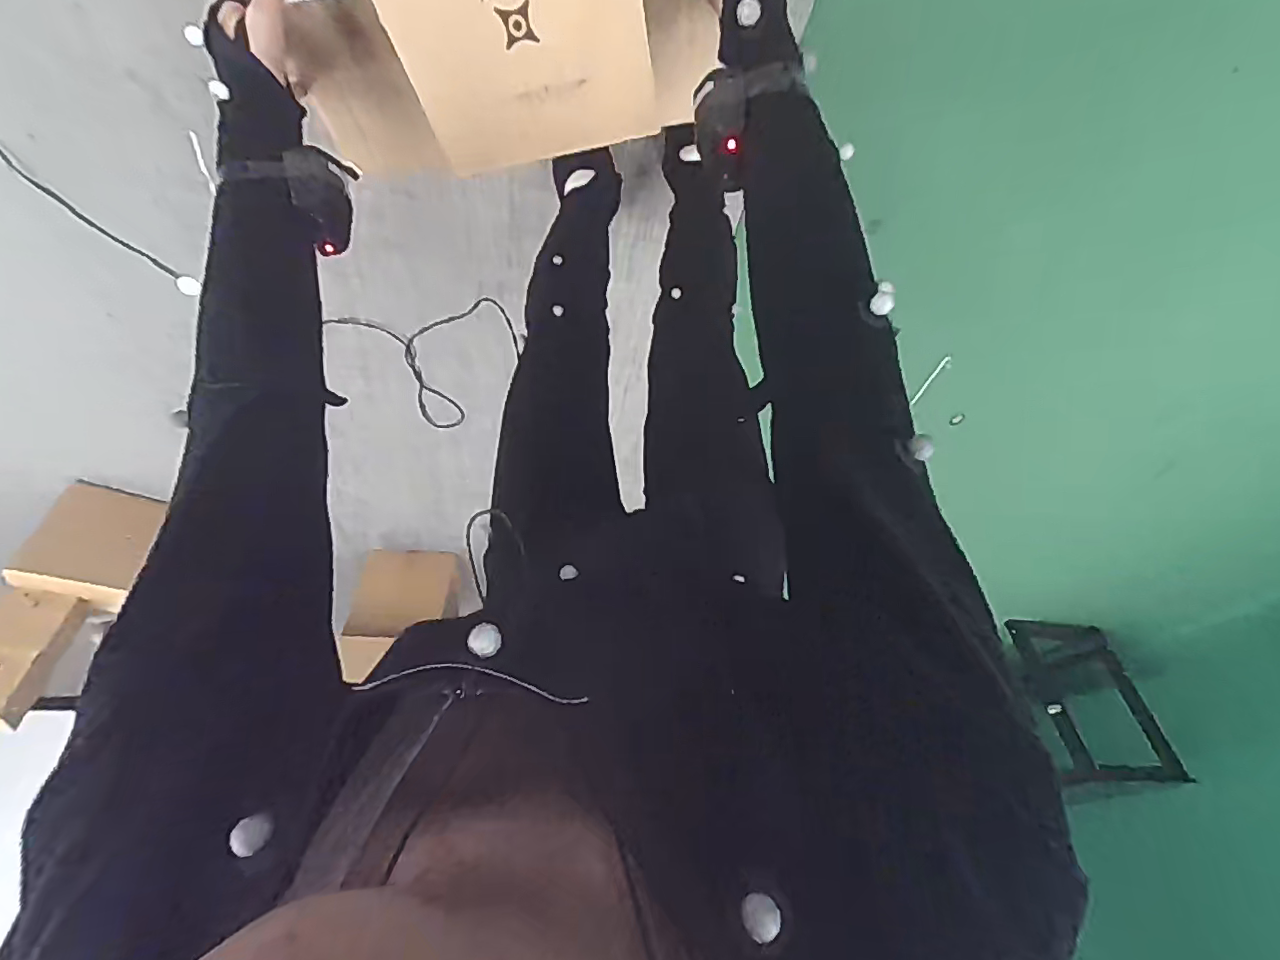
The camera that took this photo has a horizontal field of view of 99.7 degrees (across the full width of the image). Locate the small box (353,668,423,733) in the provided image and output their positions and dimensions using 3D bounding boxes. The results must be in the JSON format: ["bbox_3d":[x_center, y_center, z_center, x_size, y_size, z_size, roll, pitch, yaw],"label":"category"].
[{"bbox_3d":[-0.838,0.747,1.817,0.168,0.176,0.179,5,140,-10],"label":"small box"}]

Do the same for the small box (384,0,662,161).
[{"bbox_3d":[-0.082,-0.370,0.380,0.168,0.176,0.179,-8,149,7],"label":"small box"}]

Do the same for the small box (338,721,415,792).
[{"bbox_3d":[-0.827,0.873,1.713,0.168,0.176,0.179,4,139,-8],"label":"small box"}]

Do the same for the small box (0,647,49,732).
[{"bbox_3d":[-1.733,0.549,1.431,0.168,0.176,0.179,19,136,-25],"label":"small box"}]
